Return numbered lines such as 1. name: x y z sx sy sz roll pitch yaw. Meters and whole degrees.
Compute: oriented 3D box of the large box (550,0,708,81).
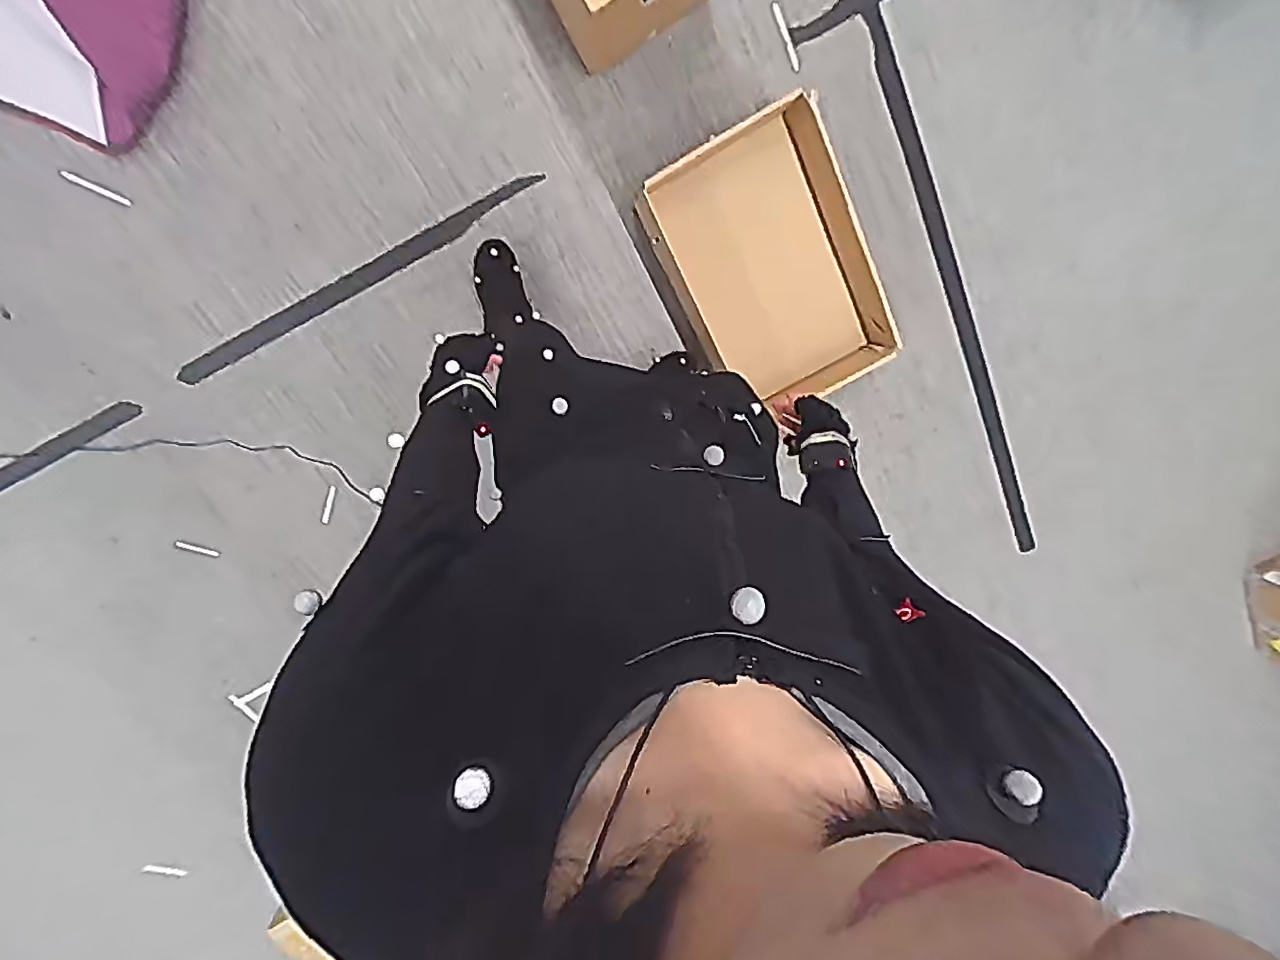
1. large box: -0.065 -1.086 1.009 0.320 0.320 0.408 -32 109 7
